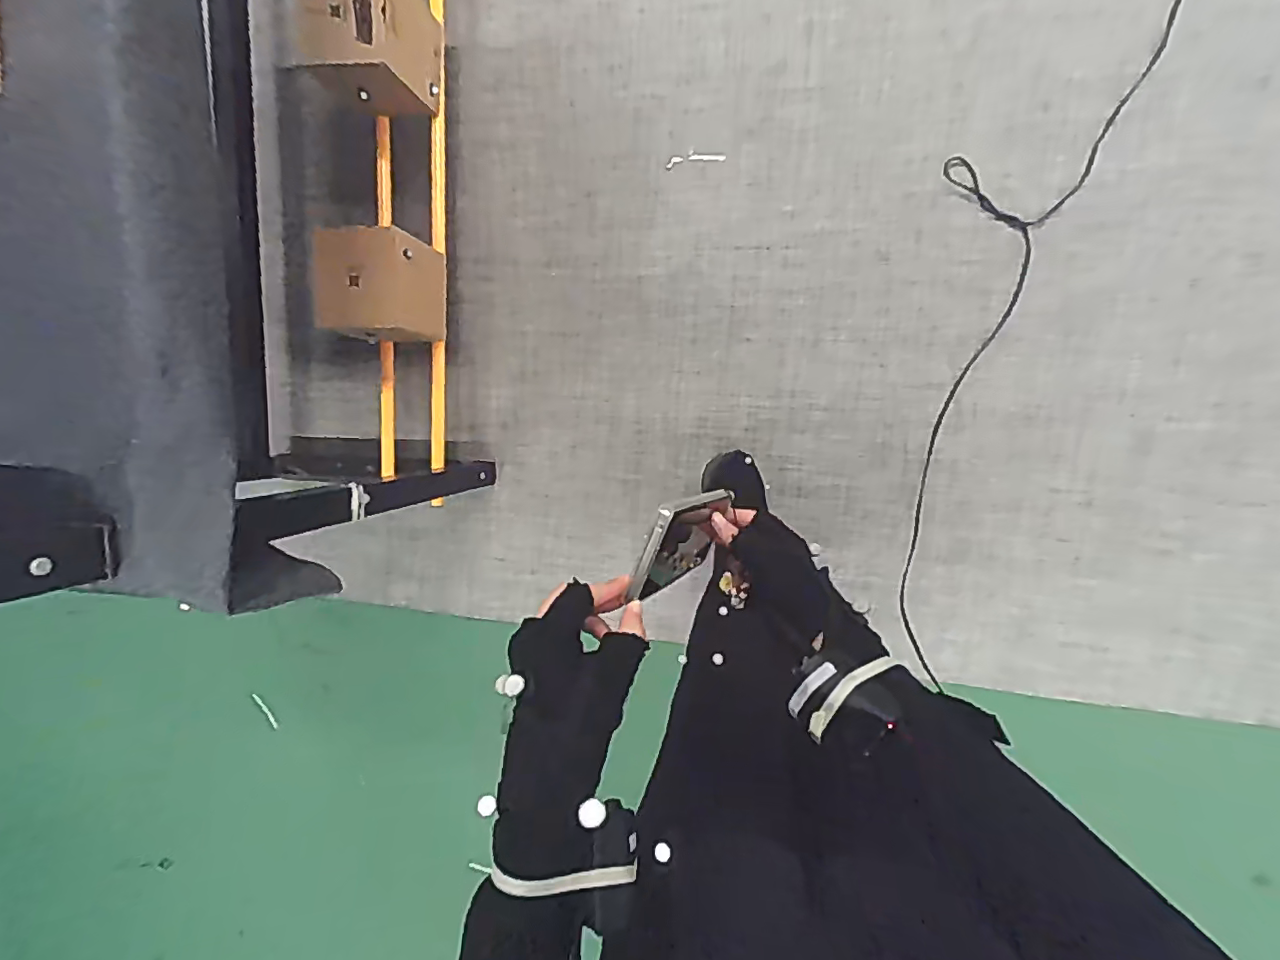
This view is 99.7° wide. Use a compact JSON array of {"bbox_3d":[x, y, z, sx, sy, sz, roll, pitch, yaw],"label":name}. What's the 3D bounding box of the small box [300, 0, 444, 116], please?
[{"bbox_3d":[-0.479,-0.794,0.983,0.179,0.176,0.168,7,97,12],"label":"small box"}]
